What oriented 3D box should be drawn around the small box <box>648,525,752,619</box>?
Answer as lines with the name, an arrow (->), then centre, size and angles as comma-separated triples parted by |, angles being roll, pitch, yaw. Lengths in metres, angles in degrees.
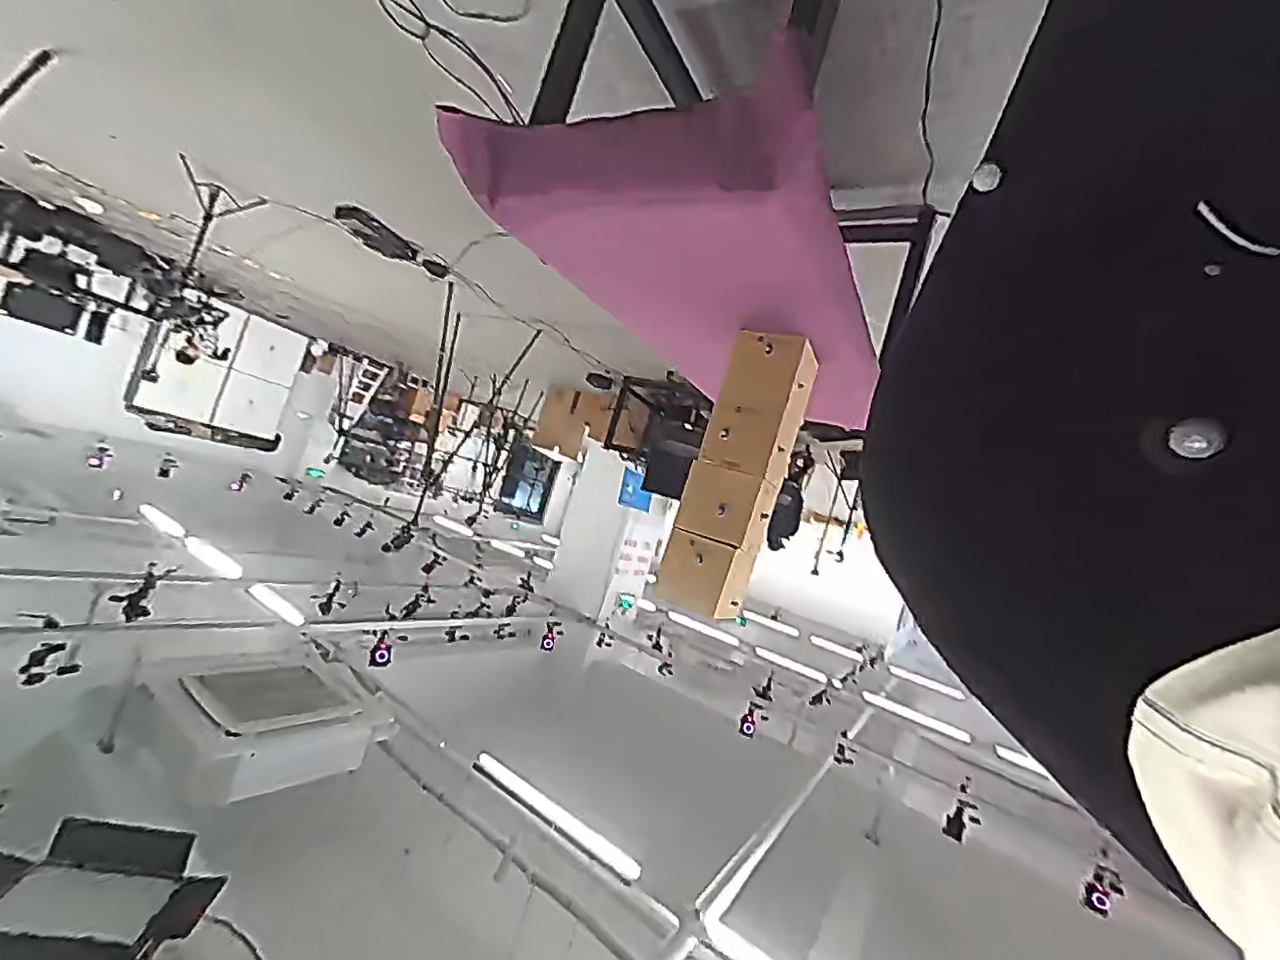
small box -> 0.149, 0.216, 1.278 | 0.168, 0.176, 0.179 | 17, 175, 30

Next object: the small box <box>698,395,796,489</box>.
small box -> 0.260, -0.092, 1.292 | 0.168, 0.176, 0.179 | 17, 176, 28

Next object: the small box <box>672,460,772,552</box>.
small box -> 0.203, 0.061, 1.286 | 0.179, 0.176, 0.168 | 16, 176, 28
